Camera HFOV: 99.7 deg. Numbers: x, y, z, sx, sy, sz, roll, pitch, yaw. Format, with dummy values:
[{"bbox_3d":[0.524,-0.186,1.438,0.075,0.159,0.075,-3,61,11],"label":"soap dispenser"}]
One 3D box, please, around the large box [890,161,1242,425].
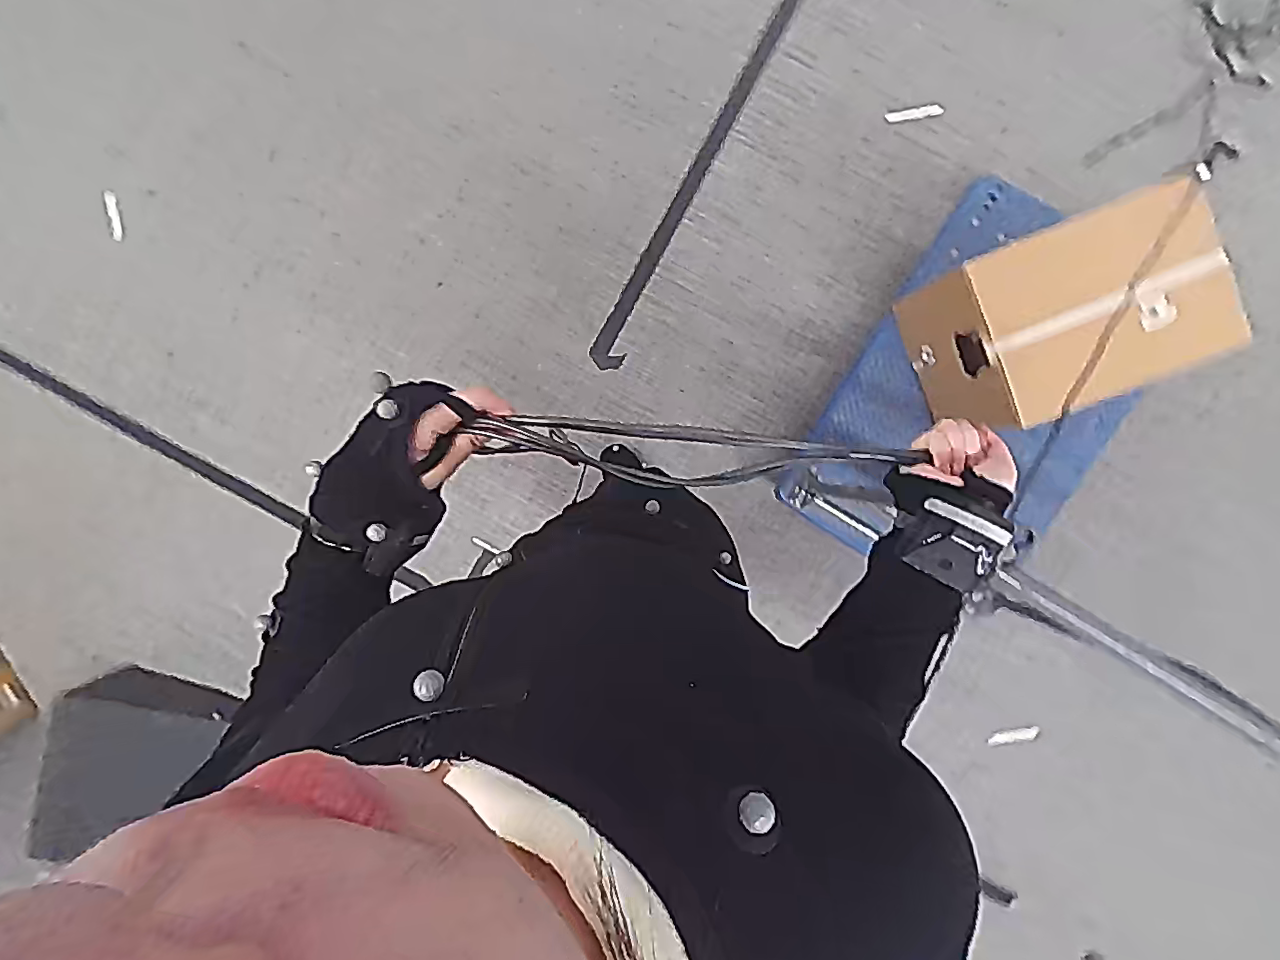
[{"bbox_3d":[0.799,-0.330,1.081,0.408,0.320,0.320,-24,94,4],"label":"large box"}]
